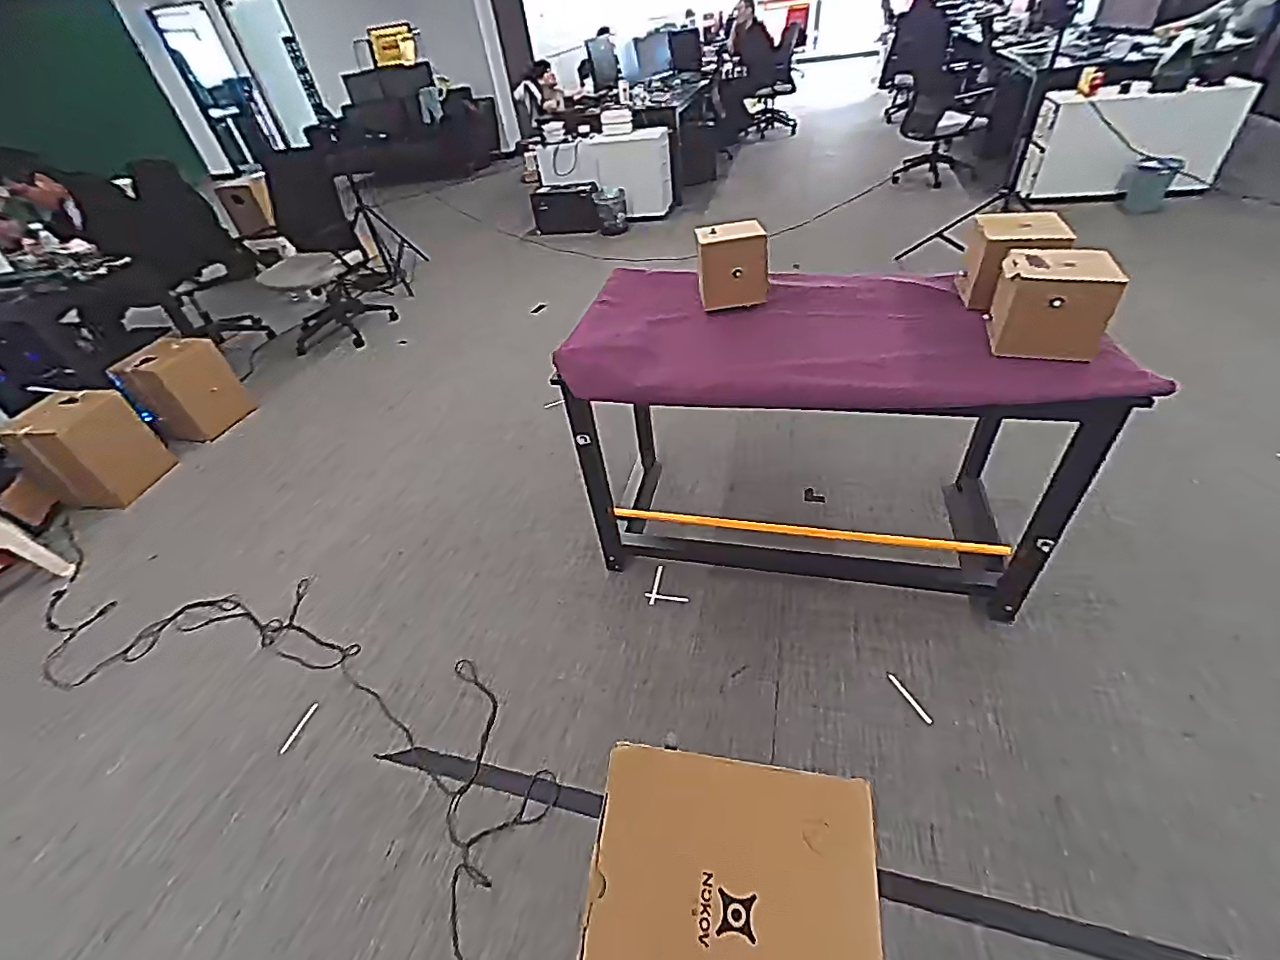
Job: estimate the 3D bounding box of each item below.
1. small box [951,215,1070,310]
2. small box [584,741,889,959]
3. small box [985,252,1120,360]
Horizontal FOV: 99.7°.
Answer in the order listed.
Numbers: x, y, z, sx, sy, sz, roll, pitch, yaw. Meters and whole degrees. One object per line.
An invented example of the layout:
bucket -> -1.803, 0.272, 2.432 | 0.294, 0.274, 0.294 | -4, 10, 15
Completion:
small box -> 0.880, -0.522, 1.304 | 0.179, 0.176, 0.168 | 4, 44, 15
small box -> 0.067, 0.299, 0.391 | 0.179, 0.176, 0.168 | 3, 57, 11
small box -> 0.844, -0.364, 1.132 | 0.179, 0.176, 0.168 | 8, 43, 19
